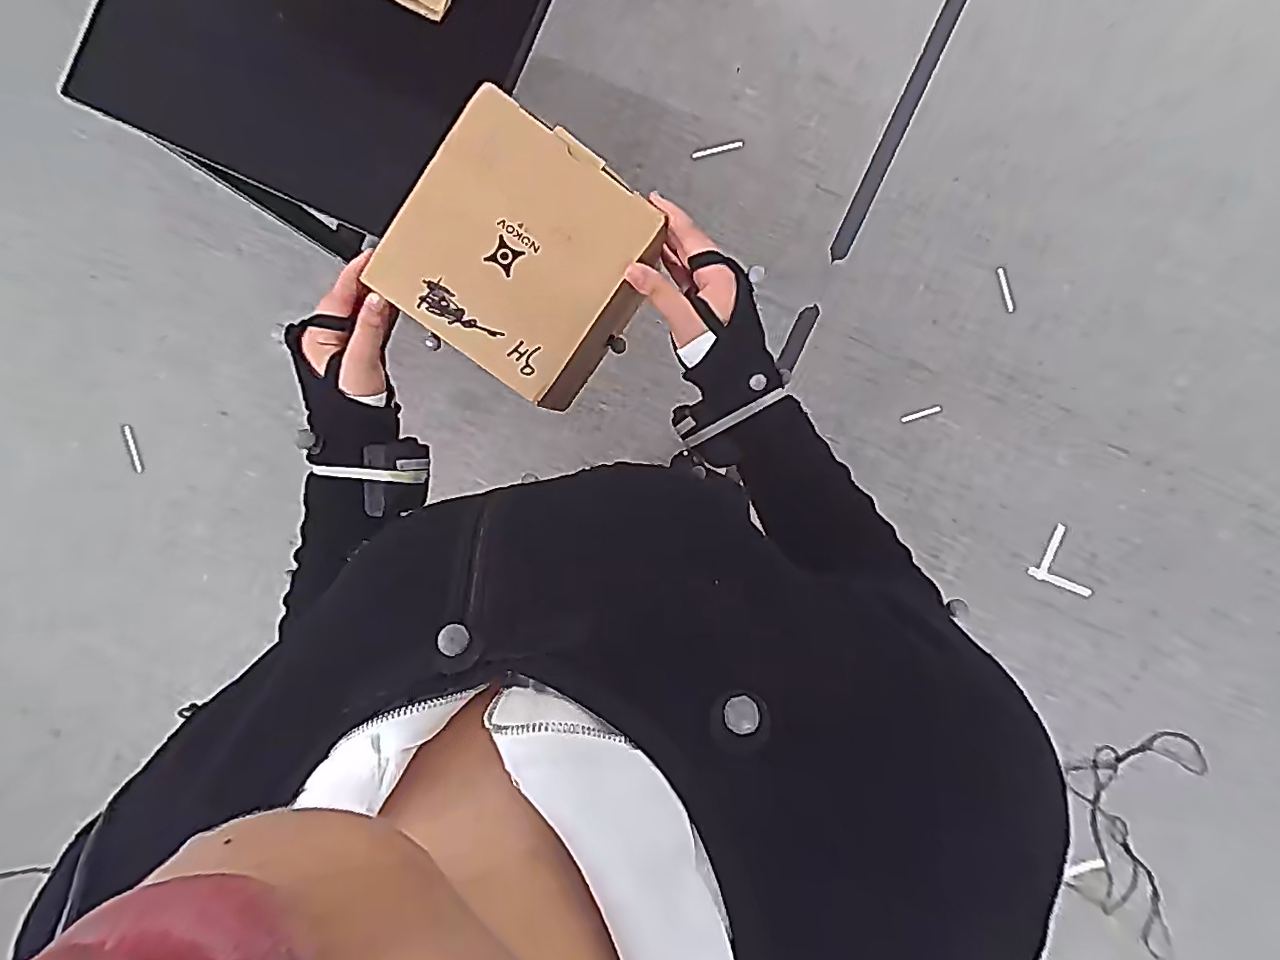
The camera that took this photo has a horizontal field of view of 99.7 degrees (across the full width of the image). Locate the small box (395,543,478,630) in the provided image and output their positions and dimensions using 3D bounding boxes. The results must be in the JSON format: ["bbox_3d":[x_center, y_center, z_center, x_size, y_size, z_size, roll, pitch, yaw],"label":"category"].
[{"bbox_3d":[-0.563,0.276,1.451,0.179,0.176,0.168,20,92,1],"label":"small box"}]

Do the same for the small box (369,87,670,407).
[{"bbox_3d":[-0.095,-0.184,0.490,0.168,0.176,0.179,36,93,-3],"label":"small box"}]
